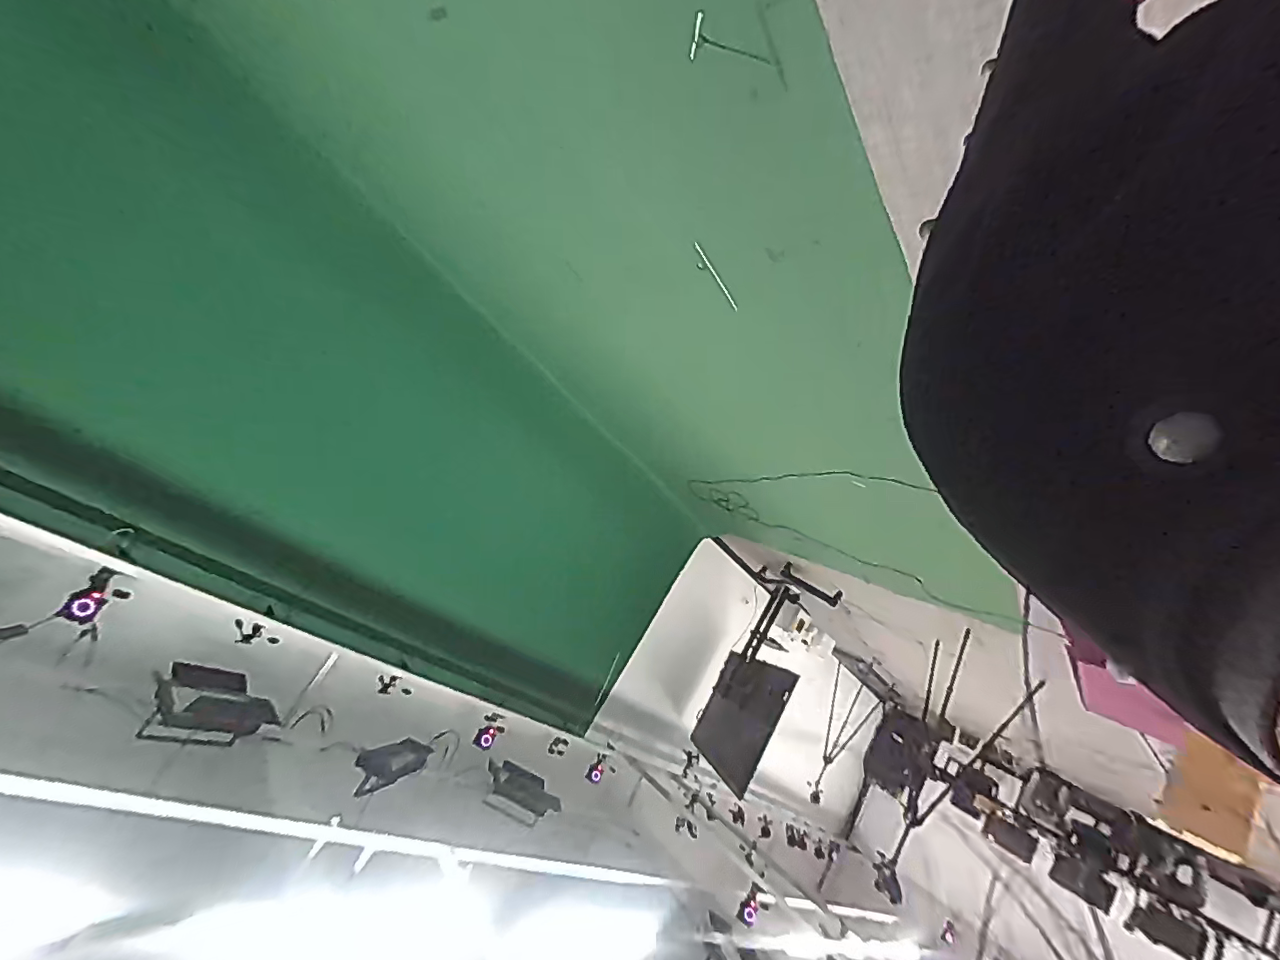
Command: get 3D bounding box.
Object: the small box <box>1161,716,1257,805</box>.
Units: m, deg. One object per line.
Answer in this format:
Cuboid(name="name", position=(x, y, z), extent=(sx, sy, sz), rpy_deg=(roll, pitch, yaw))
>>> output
Cuboid(name="small box", position=(1.710, 0.838, 1.628), extent=(0.168, 0.176, 0.179), rpy_deg=(17, 160, 45))
